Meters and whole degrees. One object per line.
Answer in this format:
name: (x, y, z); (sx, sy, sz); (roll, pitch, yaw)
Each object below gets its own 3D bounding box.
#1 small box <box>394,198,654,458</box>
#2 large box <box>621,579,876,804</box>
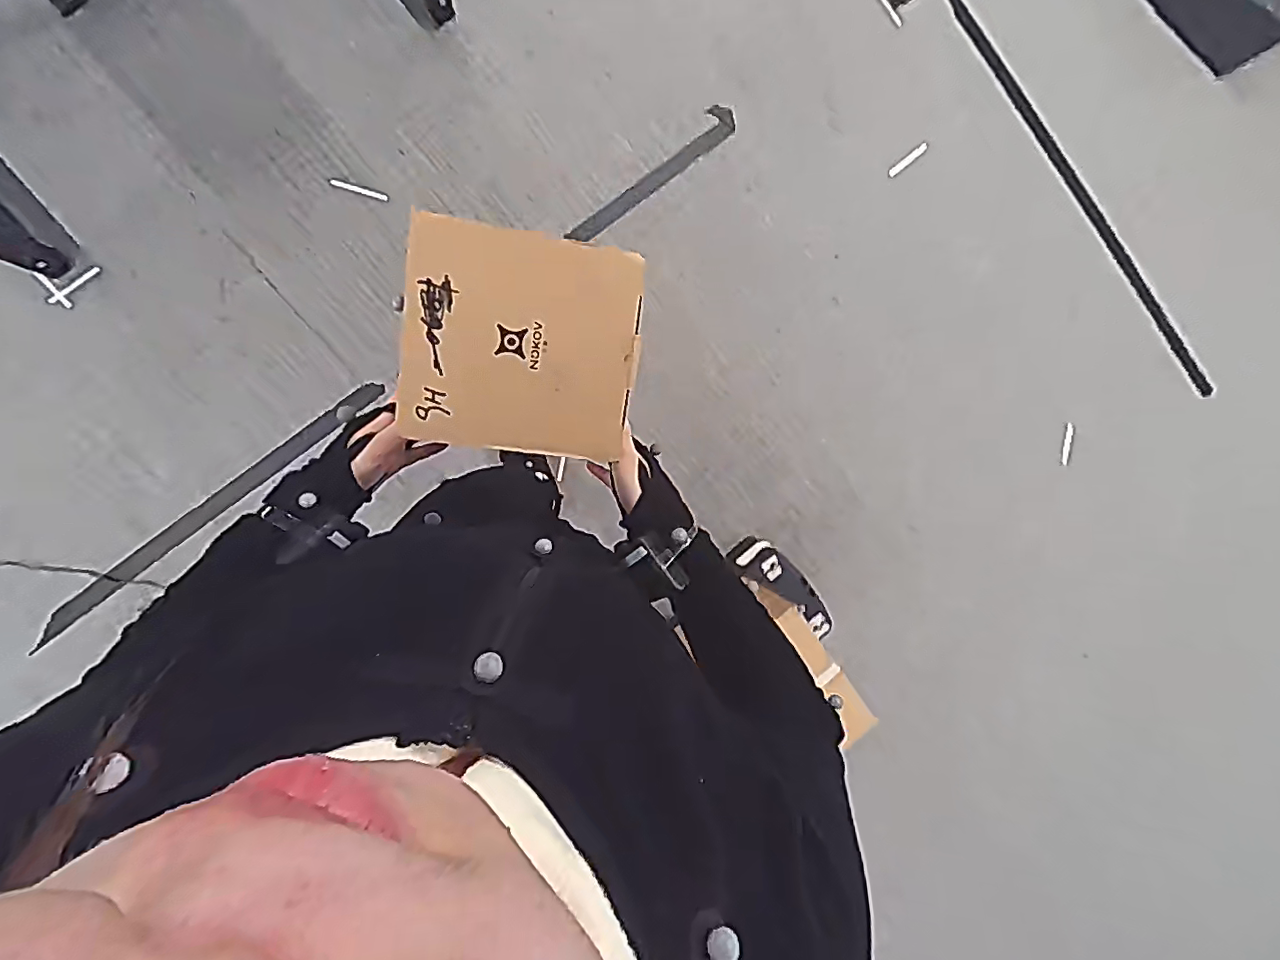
small box: (-0.102, -0.119, 0.480); (0.179, 0.176, 0.168); (6, 97, -13)
large box: (0.216, 0.484, 1.210); (0.408, 0.320, 0.320); (-36, 97, -7)
